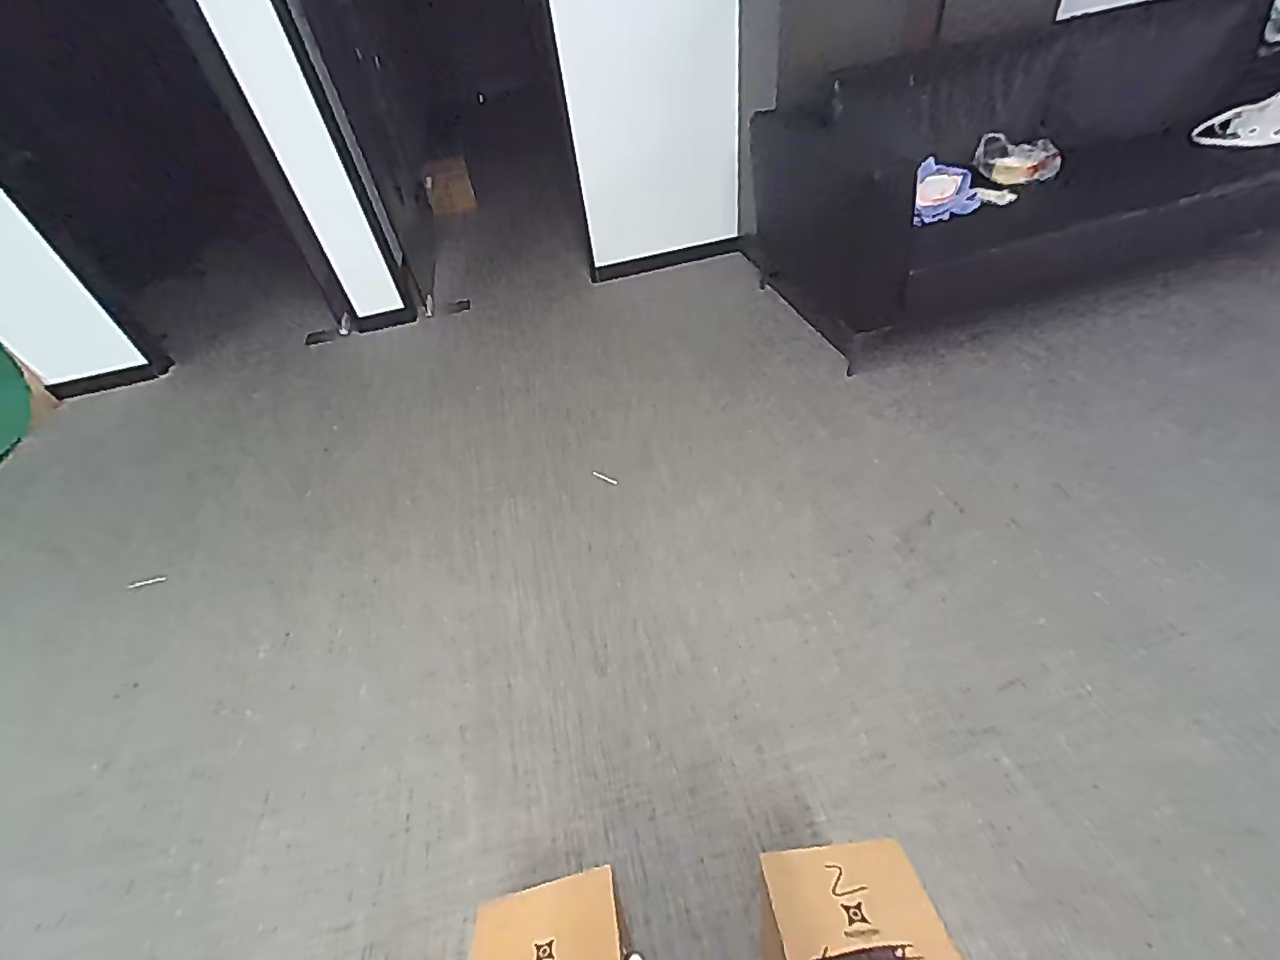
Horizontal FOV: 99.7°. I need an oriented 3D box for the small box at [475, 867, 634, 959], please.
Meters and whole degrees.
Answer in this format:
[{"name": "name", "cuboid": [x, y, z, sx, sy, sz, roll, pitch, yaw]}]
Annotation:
[{"name": "small box", "cuboid": [-0.086, 0.597, 0.606, 0.168, 0.176, 0.179, -14, 12, -6]}]
